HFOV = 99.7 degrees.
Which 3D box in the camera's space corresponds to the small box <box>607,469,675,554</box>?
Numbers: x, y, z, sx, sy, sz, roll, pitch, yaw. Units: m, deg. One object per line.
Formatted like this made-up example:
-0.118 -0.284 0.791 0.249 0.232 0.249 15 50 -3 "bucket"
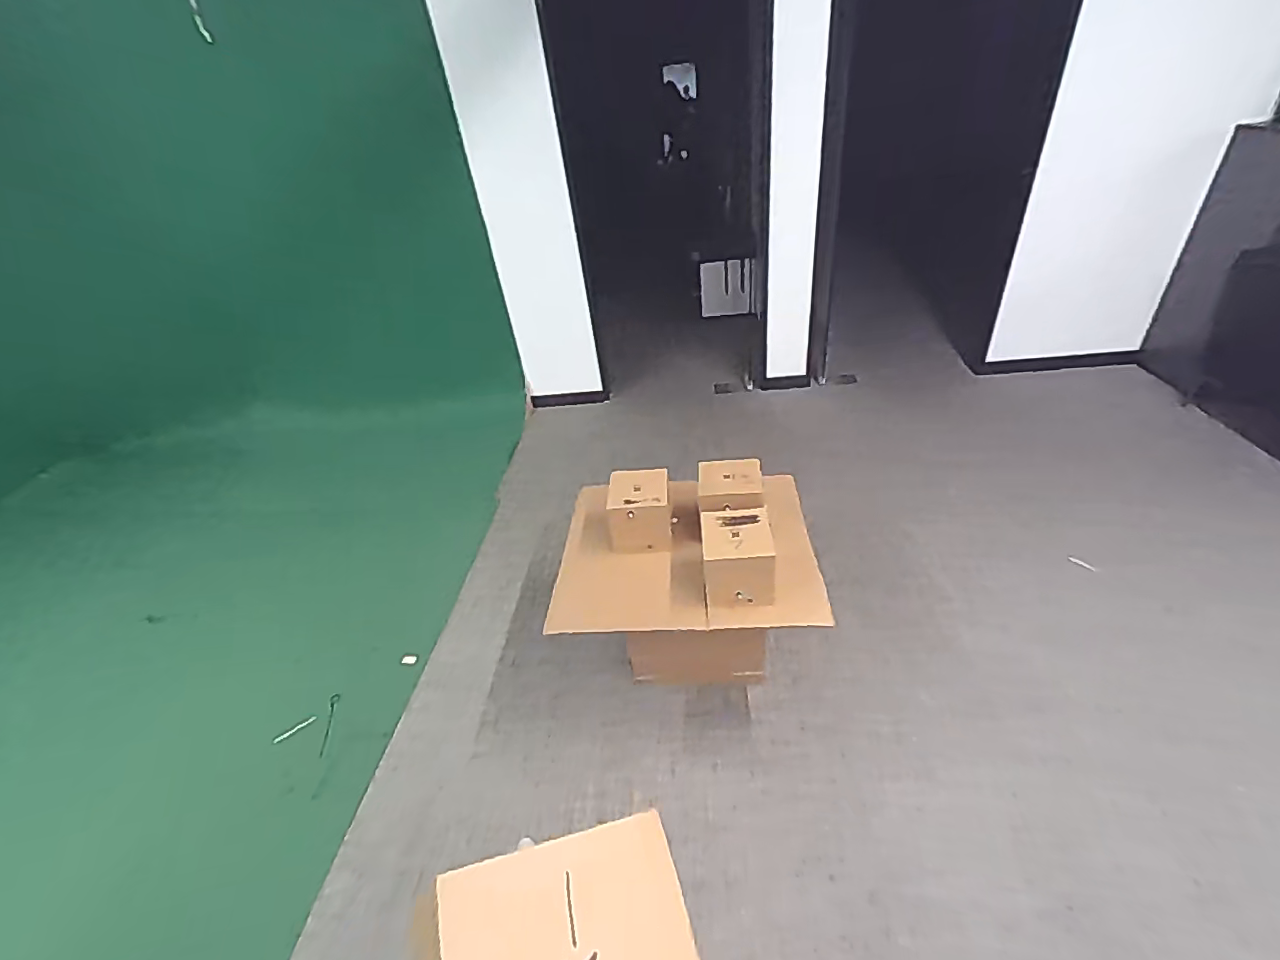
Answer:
0.007 0.090 1.537 0.168 0.176 0.179 -6 34 7 "small box"
